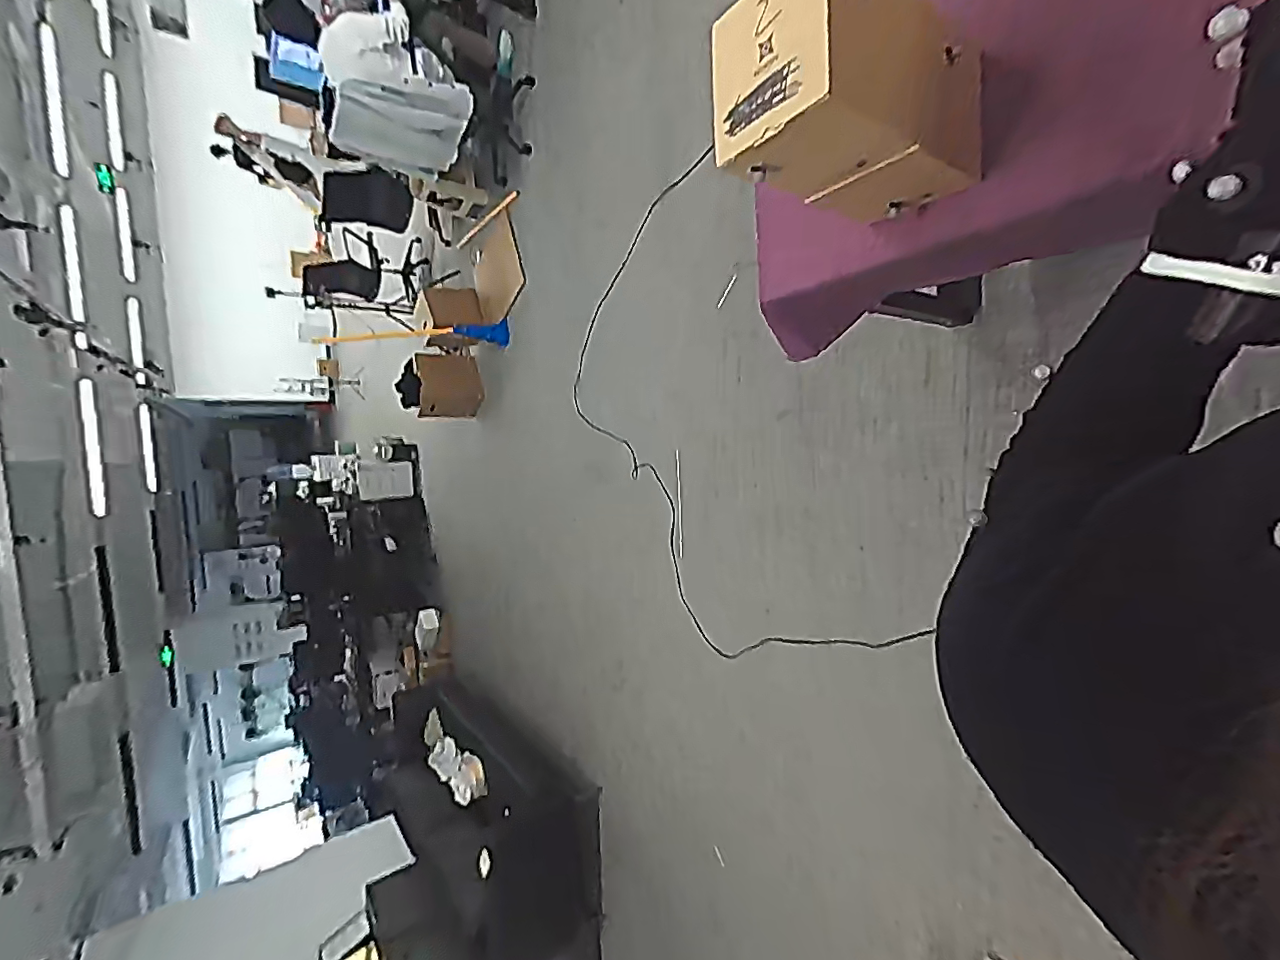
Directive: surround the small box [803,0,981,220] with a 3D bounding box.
[{"bbox_3d":[0.347,-0.489,0.746,0.168,0.176,0.179,2,97,55],"label":"small box"}]
